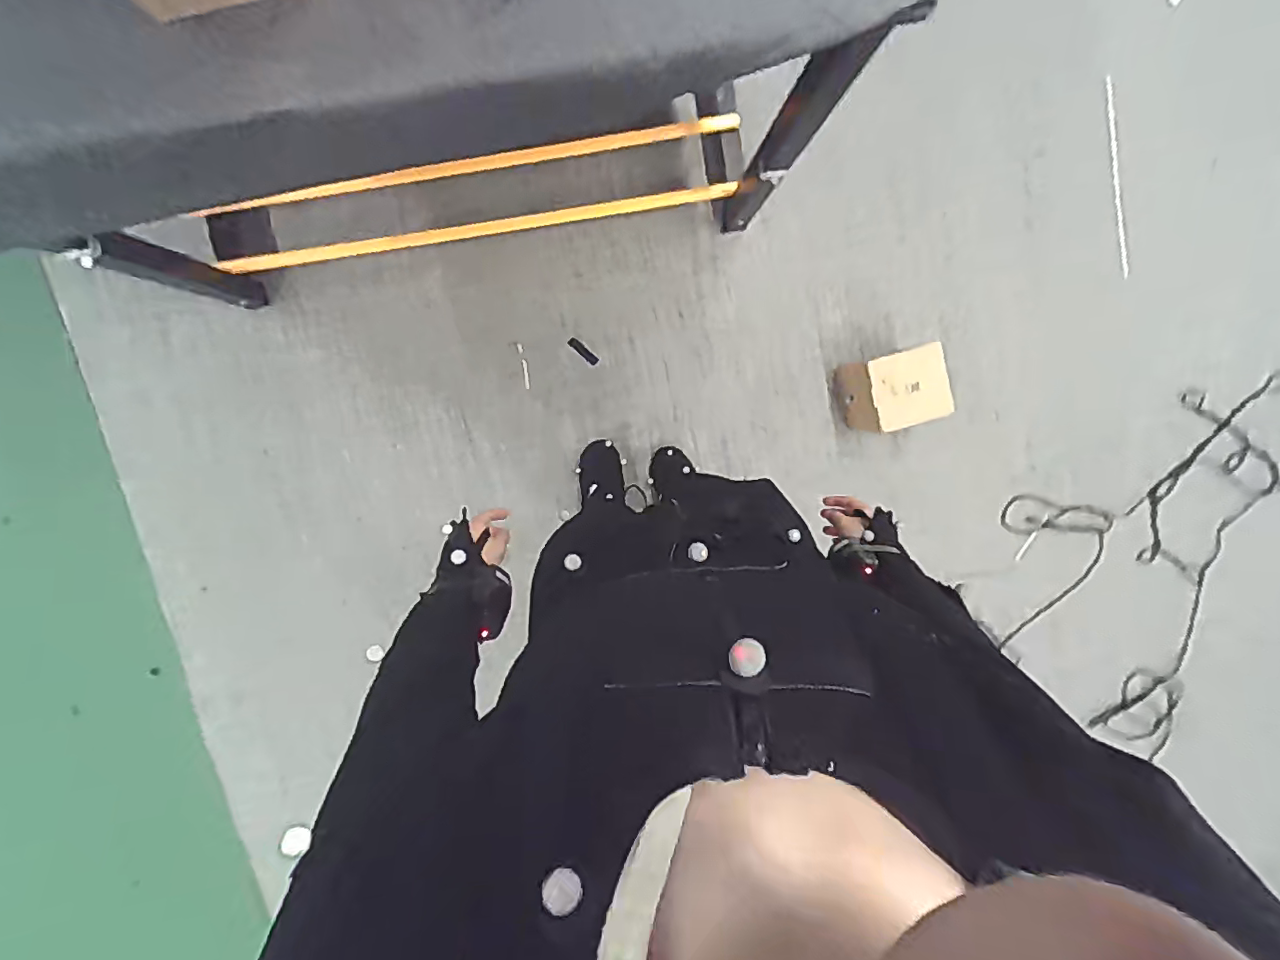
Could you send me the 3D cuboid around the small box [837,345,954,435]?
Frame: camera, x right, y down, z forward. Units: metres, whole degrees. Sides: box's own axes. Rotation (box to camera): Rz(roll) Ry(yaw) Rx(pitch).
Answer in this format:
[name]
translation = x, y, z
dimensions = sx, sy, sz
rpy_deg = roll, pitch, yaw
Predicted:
[small box]
translation = 0.596, -0.211, 1.277
dimensions = 0.179, 0.176, 0.168
rpy_deg = -16, 97, -1
